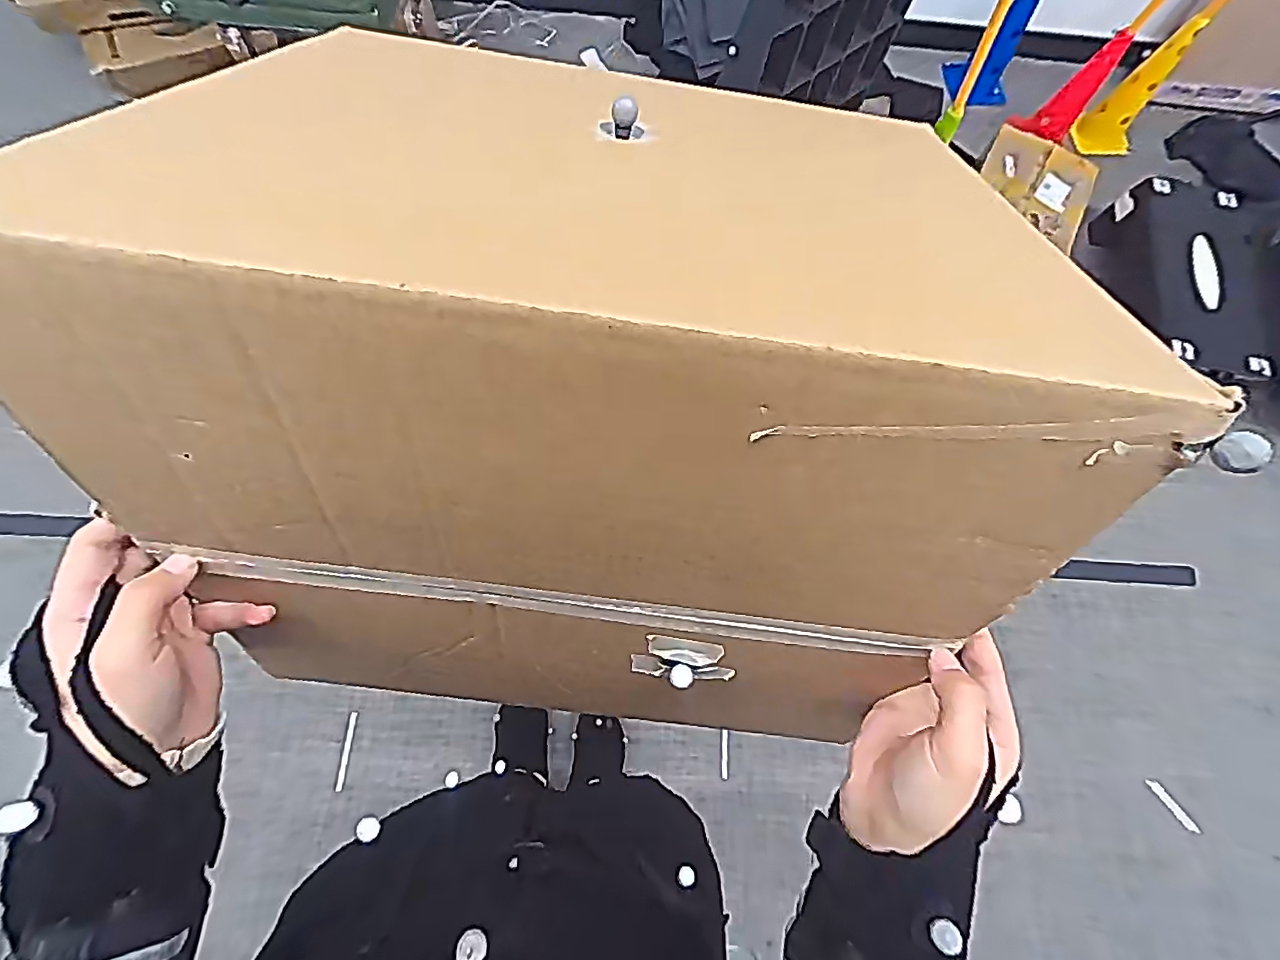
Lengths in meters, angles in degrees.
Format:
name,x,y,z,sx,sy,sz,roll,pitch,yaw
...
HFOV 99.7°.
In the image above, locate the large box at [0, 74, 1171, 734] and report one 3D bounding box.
name,x,y,z,sx,sy,sz,roll,pitch,yaw
large box,-0.030,-0.050,0.380,0.408,0.320,0.320,7,48,-2
